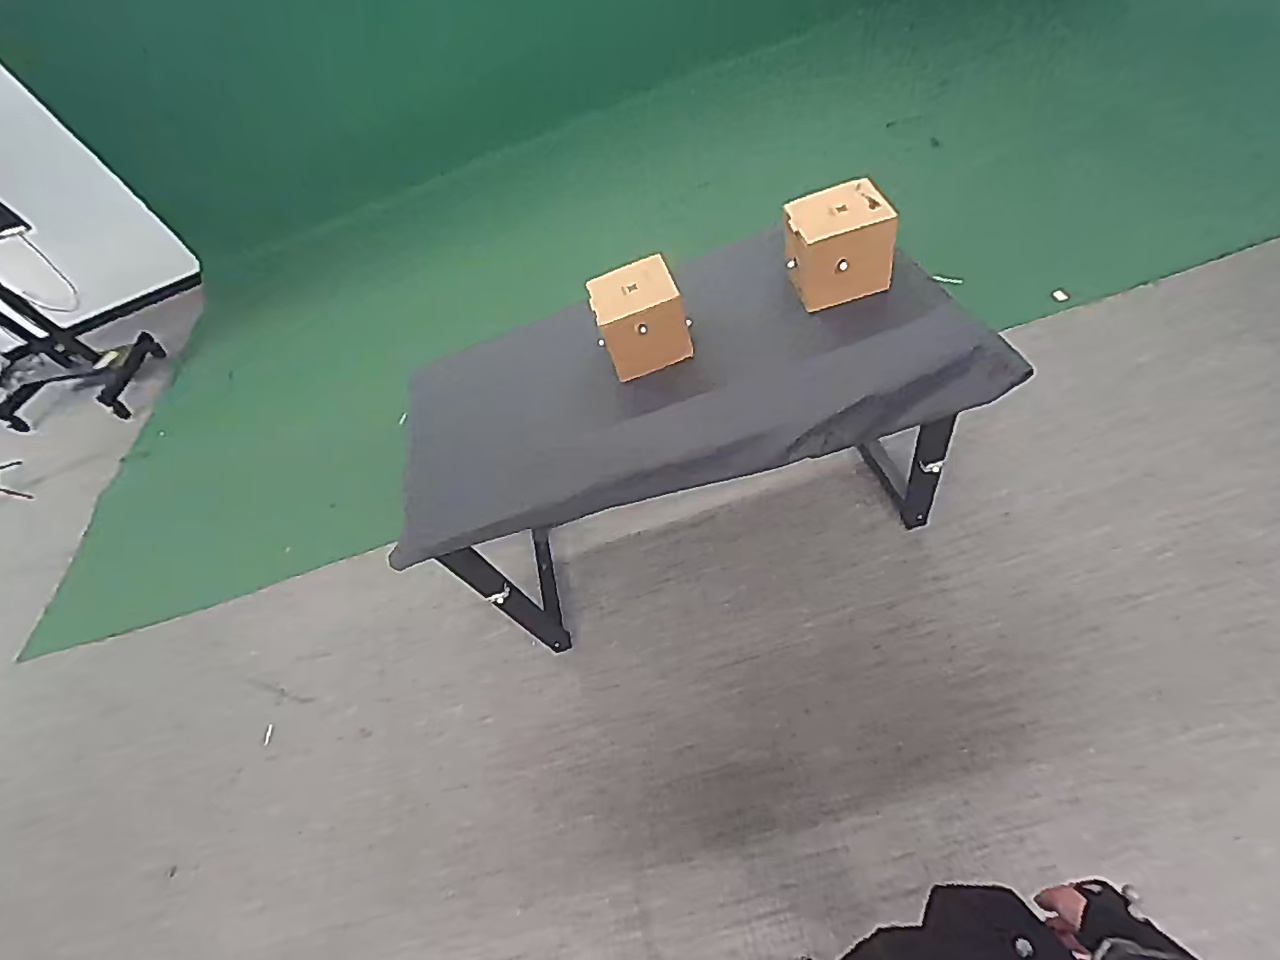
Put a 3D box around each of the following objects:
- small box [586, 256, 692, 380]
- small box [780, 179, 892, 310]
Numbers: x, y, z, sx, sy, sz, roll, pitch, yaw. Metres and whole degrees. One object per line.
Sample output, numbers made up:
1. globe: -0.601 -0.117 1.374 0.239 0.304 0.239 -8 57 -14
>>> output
1. small box: -0.001 -0.350 1.188 0.179 0.176 0.168 -19 54 3
2. small box: 0.411 -0.491 1.144 0.179 0.176 0.168 -16 53 9
